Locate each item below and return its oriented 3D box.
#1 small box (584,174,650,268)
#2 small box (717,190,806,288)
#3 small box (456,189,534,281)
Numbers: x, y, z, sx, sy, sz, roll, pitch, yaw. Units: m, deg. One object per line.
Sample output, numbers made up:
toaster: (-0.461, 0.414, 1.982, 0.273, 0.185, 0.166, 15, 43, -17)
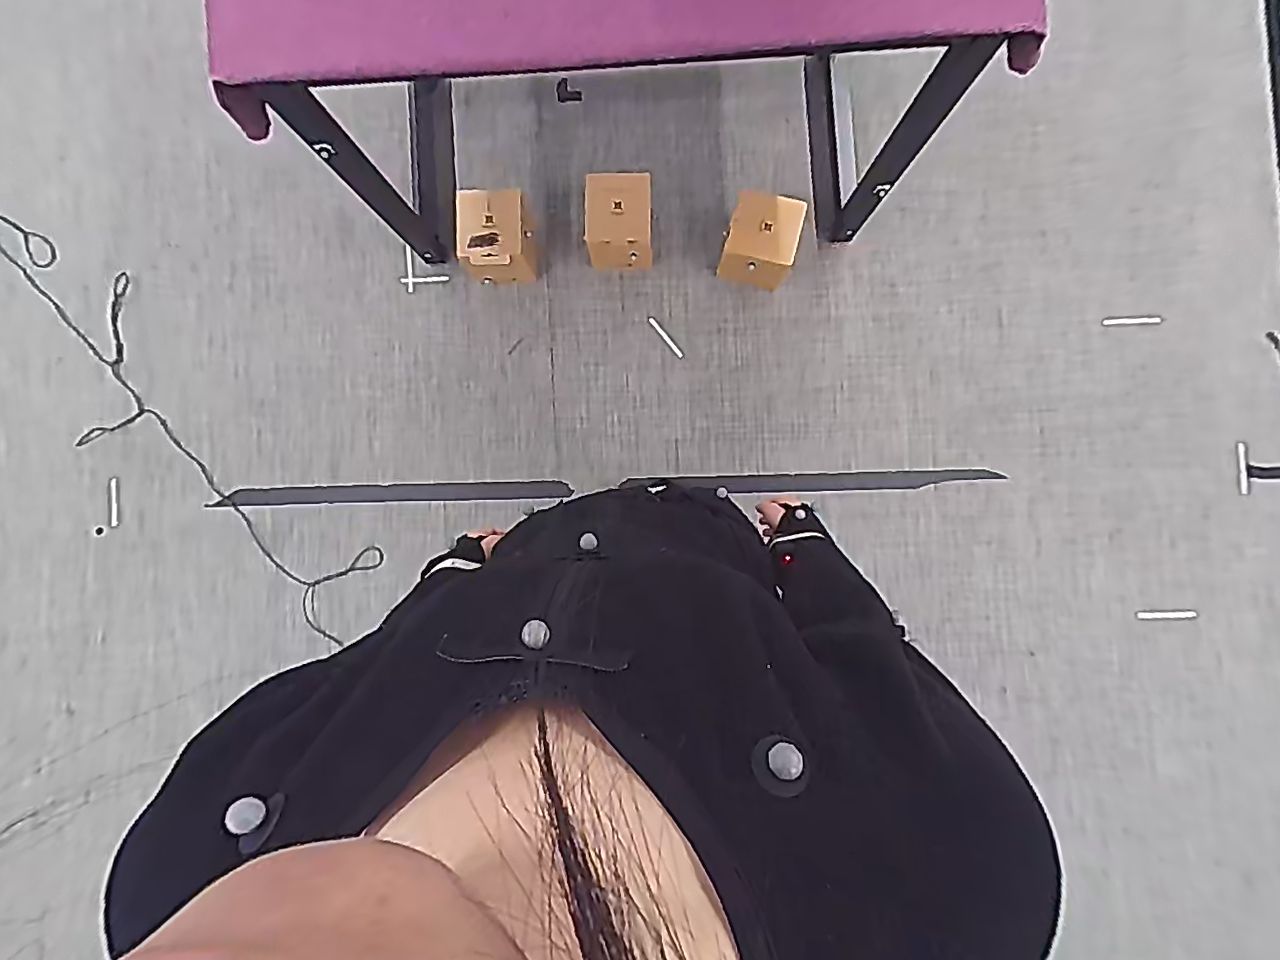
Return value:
small box: (-0.057, -0.678, 1.434, 0.168, 0.176, 0.179, -1, 88, 0)
small box: (0.312, -0.626, 1.426, 0.179, 0.176, 0.168, 15, 90, 3)
small box: (-0.379, -0.642, 1.438, 0.168, 0.176, 0.179, -1, 88, 1)
